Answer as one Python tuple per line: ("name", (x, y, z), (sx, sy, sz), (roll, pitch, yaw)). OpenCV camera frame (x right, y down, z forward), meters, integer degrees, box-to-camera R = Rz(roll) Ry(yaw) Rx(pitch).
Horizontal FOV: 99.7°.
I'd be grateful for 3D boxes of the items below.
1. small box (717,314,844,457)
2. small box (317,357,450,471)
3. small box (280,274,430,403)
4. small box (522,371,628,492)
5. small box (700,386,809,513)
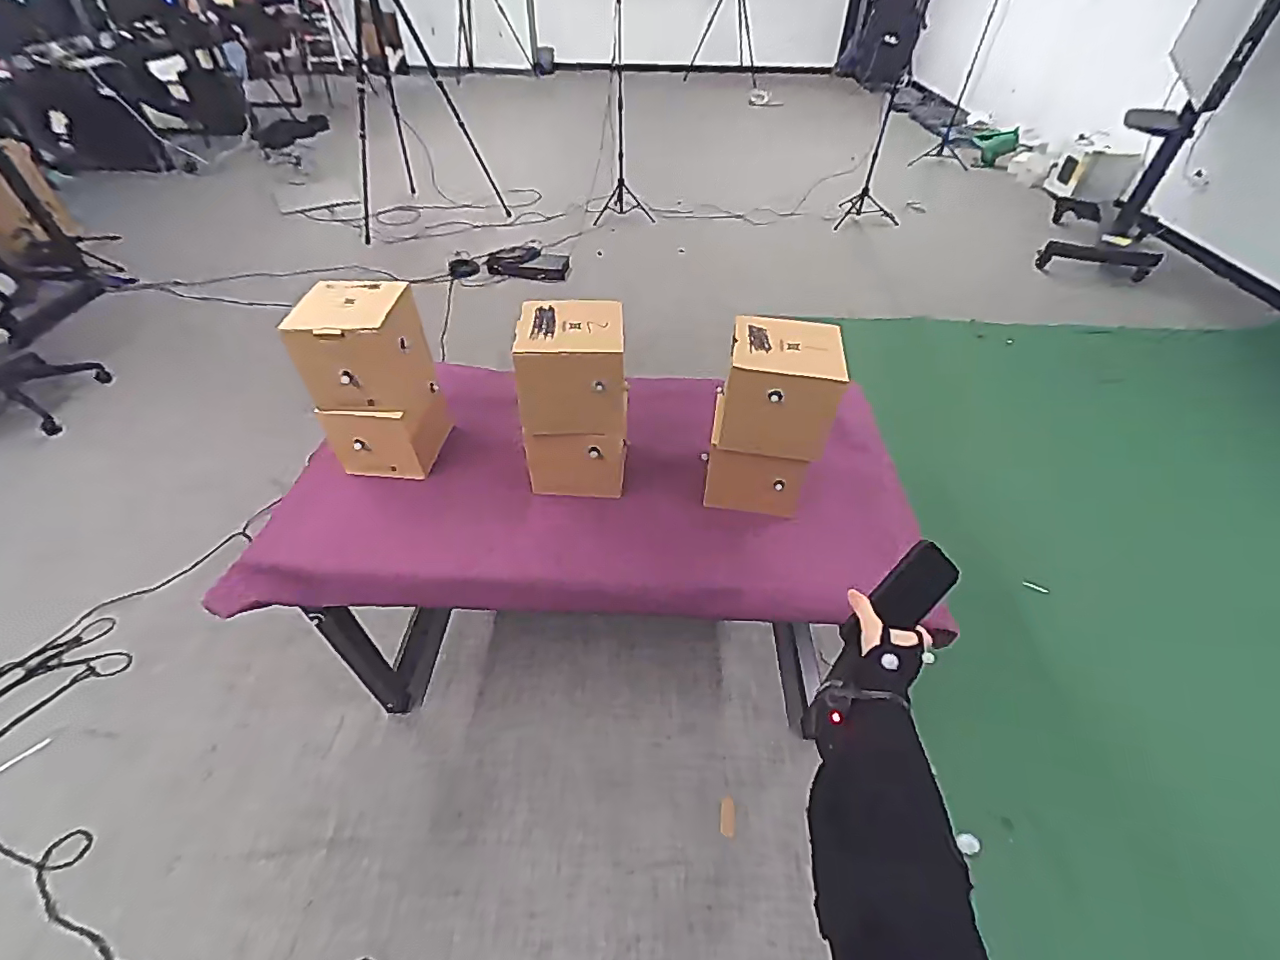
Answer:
("small box", (0.229, -0.158, 0.915), (0.179, 0.176, 0.168), (9, 46, 6))
("small box", (-0.506, -0.136, 1.100), (0.168, 0.176, 0.179), (5, 46, 3))
("small box", (-0.502, -0.256, 0.988), (0.168, 0.176, 0.179), (1, 47, -1))
("small box", (-0.119, -0.092, 1.067), (0.179, 0.176, 0.168), (4, 46, 3))
("small box", (0.219, -0.056, 1.043), (0.179, 0.176, 0.168), (8, 46, 8))
